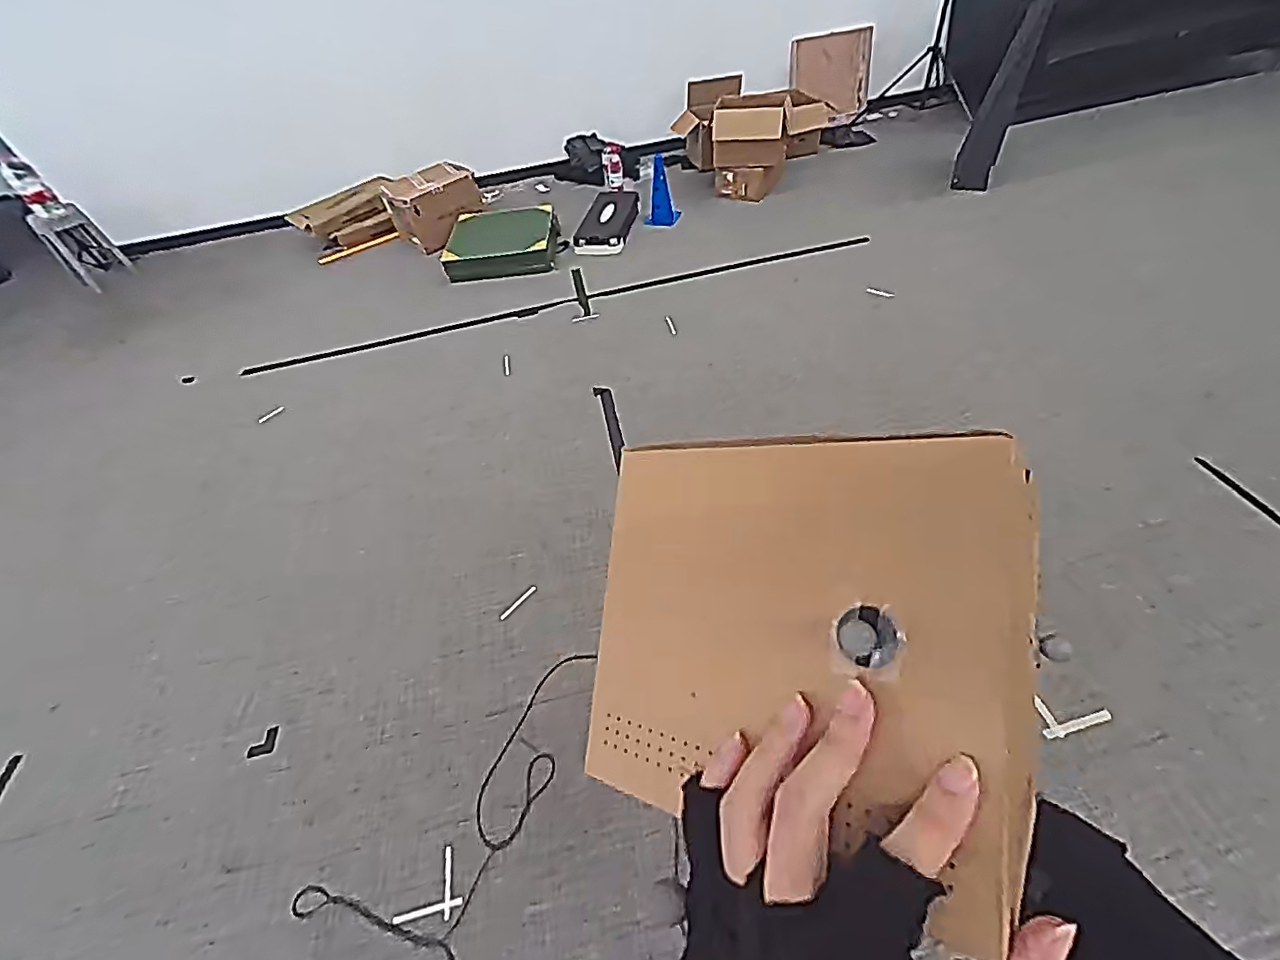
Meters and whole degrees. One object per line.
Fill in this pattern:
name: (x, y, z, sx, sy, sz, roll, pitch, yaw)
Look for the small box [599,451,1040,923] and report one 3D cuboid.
small box: (0.099, 0.085, 0.289, 0.179, 0.168, 0.176, 0, 79, 39)
